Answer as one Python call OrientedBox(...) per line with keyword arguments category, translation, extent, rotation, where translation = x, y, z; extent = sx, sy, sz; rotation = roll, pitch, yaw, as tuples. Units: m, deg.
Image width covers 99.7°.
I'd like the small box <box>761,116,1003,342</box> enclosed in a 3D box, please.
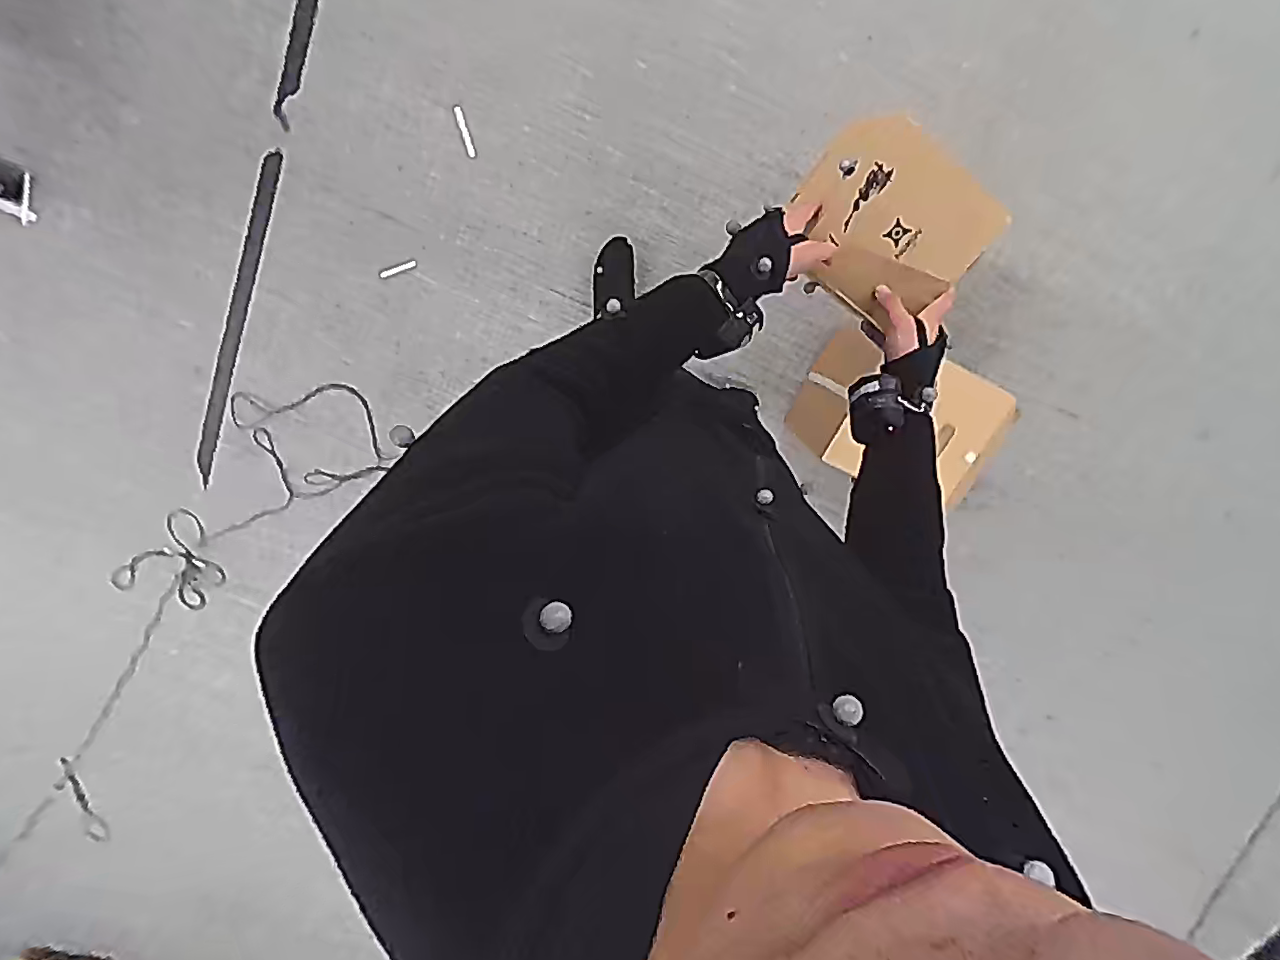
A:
OrientedBox(category="small box", translation=(0.275, -0.303, 0.655), extent=(0.179, 0.176, 0.168), rotation=(30, 115, -18))
